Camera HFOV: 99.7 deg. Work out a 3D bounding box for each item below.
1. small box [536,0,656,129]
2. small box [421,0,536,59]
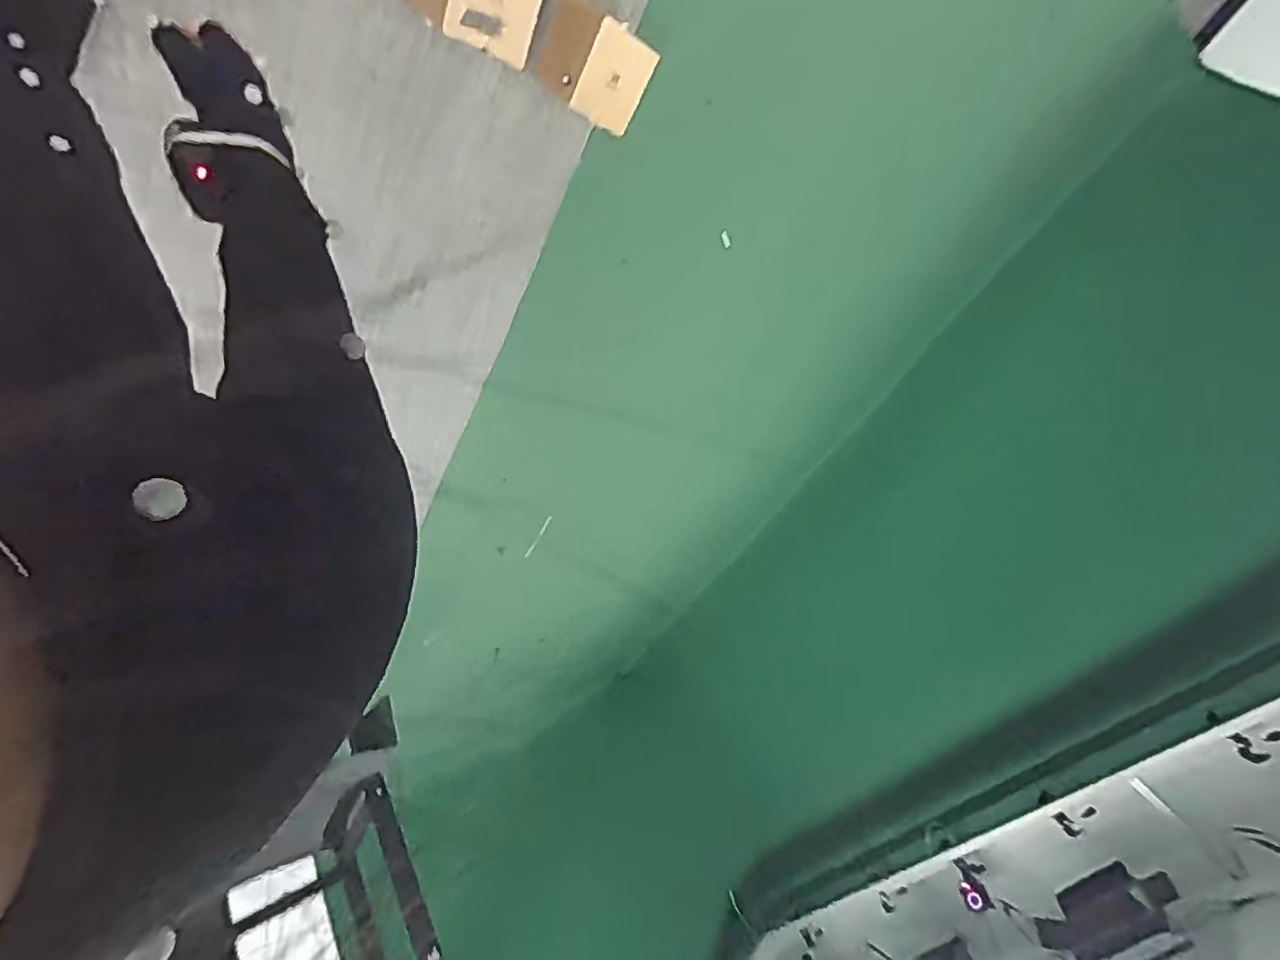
[{"bbox_3d":[-0.103,-0.929,1.190,0.168,0.176,0.179,-4,139,-47],"label":"small box"},{"bbox_3d":[-0.296,-0.916,0.970,0.168,0.176,0.179,-9,141,-45],"label":"small box"}]
